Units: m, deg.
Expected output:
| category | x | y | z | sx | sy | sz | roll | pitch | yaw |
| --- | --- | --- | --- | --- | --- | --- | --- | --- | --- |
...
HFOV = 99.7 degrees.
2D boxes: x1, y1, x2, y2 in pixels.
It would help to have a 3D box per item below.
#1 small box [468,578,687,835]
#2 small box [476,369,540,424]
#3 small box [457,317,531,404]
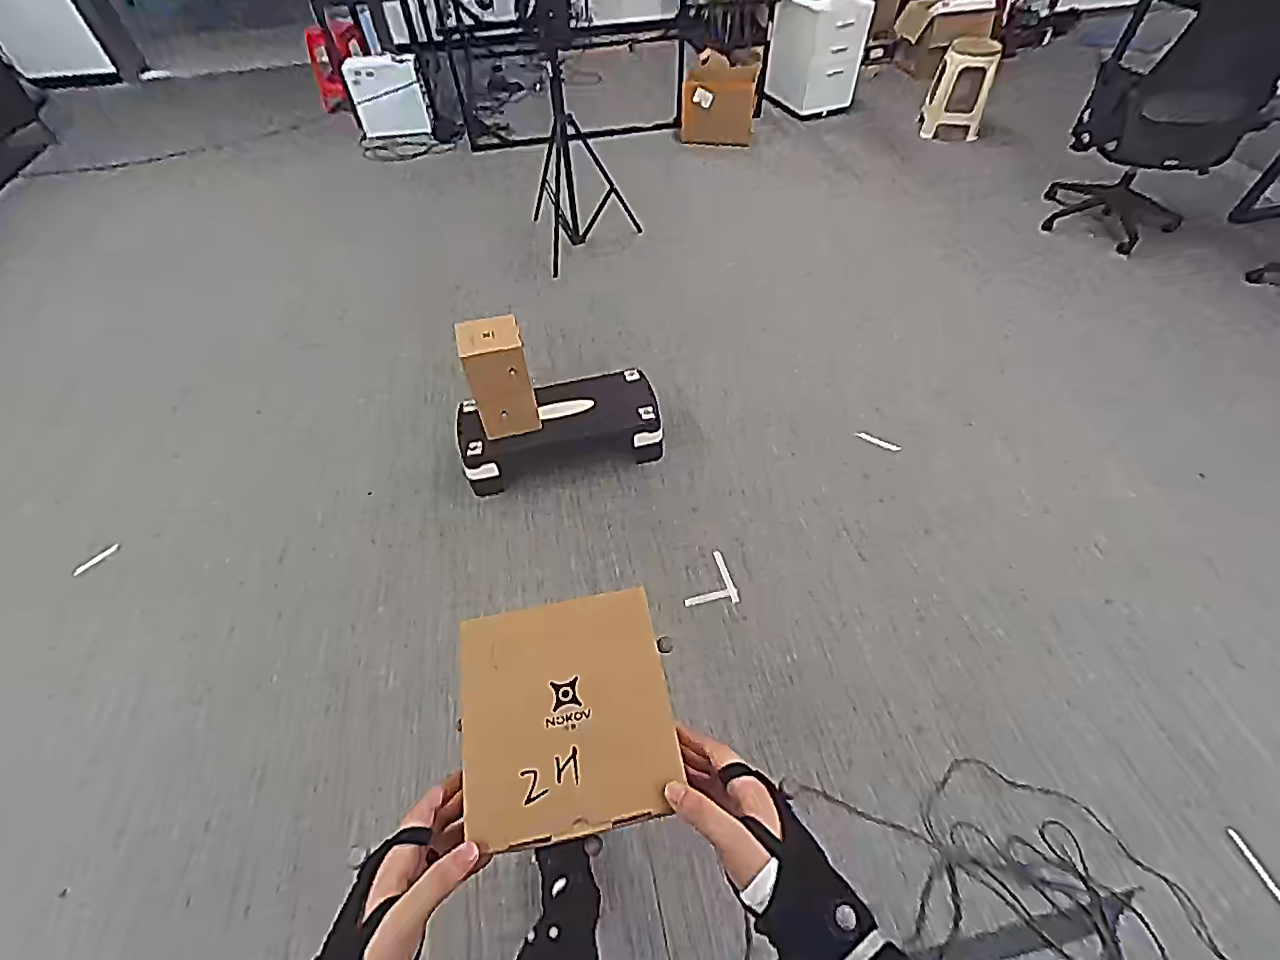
| category | x | y | z | sx | sy | sz | roll | pitch | yaw |
| --- | --- | --- | --- | --- | --- | --- | --- | --- | --- |
| small box | -0.059 | 0.218 | 0.511 | 0.168 | 0.176 | 0.179 | -10 | 57 | -5 |
| small box | -0.421 | -0.250 | 1.726 | 0.179 | 0.176 | 0.168 | -14 | 53 | -8 |
| small box | -0.426 | -0.350 | 1.597 | 0.179 | 0.176 | 0.168 | -15 | 52 | -9 |
